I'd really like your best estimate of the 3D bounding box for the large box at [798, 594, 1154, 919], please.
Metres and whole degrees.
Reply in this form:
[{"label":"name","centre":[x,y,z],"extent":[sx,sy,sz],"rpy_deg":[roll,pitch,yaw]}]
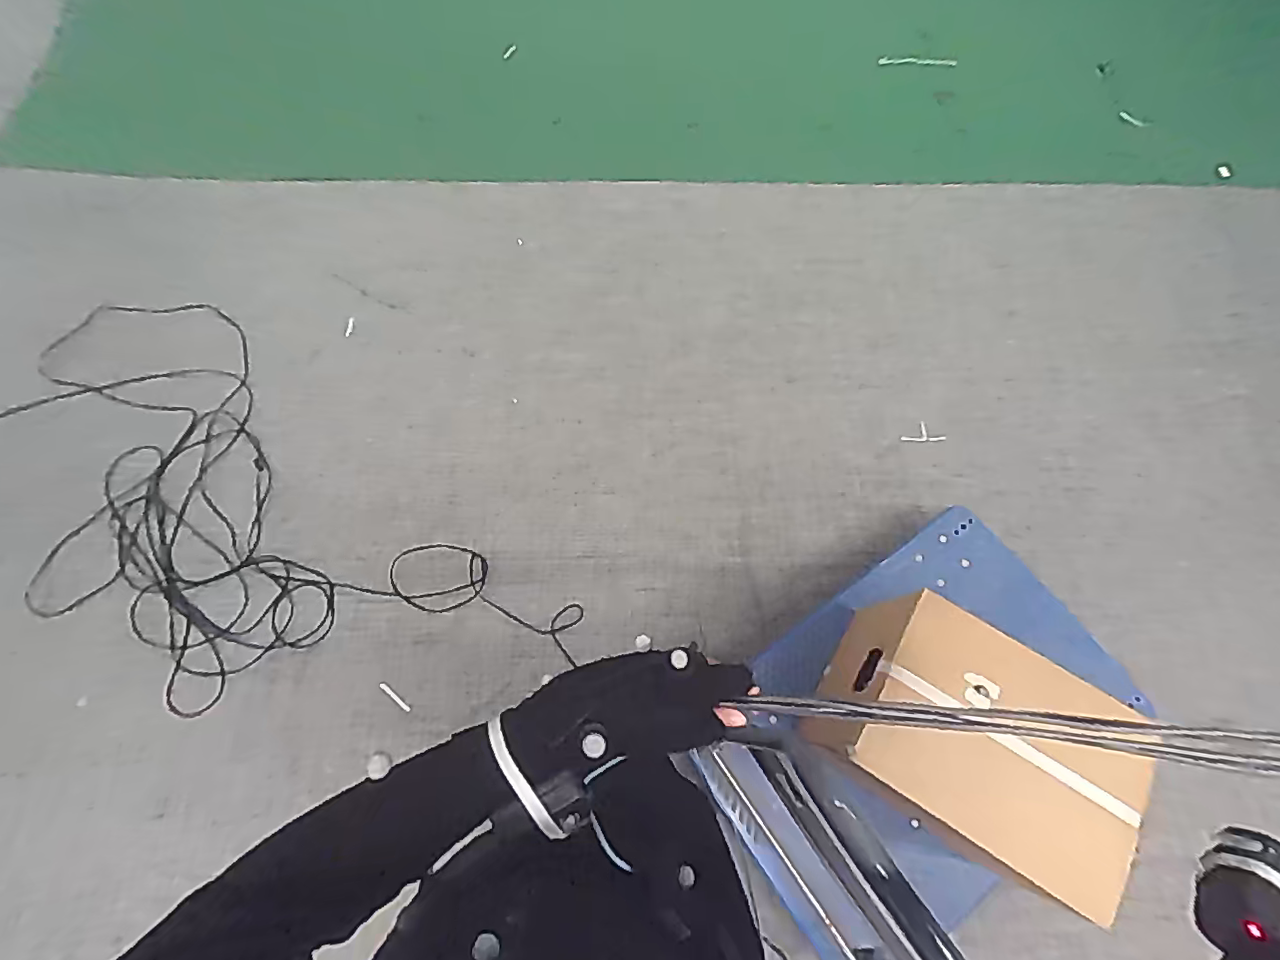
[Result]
[{"label":"large box","centre":[0.571,0.465,0.990],"extent":[0.408,0.320,0.320],"rpy_deg":[31,71,11]}]
